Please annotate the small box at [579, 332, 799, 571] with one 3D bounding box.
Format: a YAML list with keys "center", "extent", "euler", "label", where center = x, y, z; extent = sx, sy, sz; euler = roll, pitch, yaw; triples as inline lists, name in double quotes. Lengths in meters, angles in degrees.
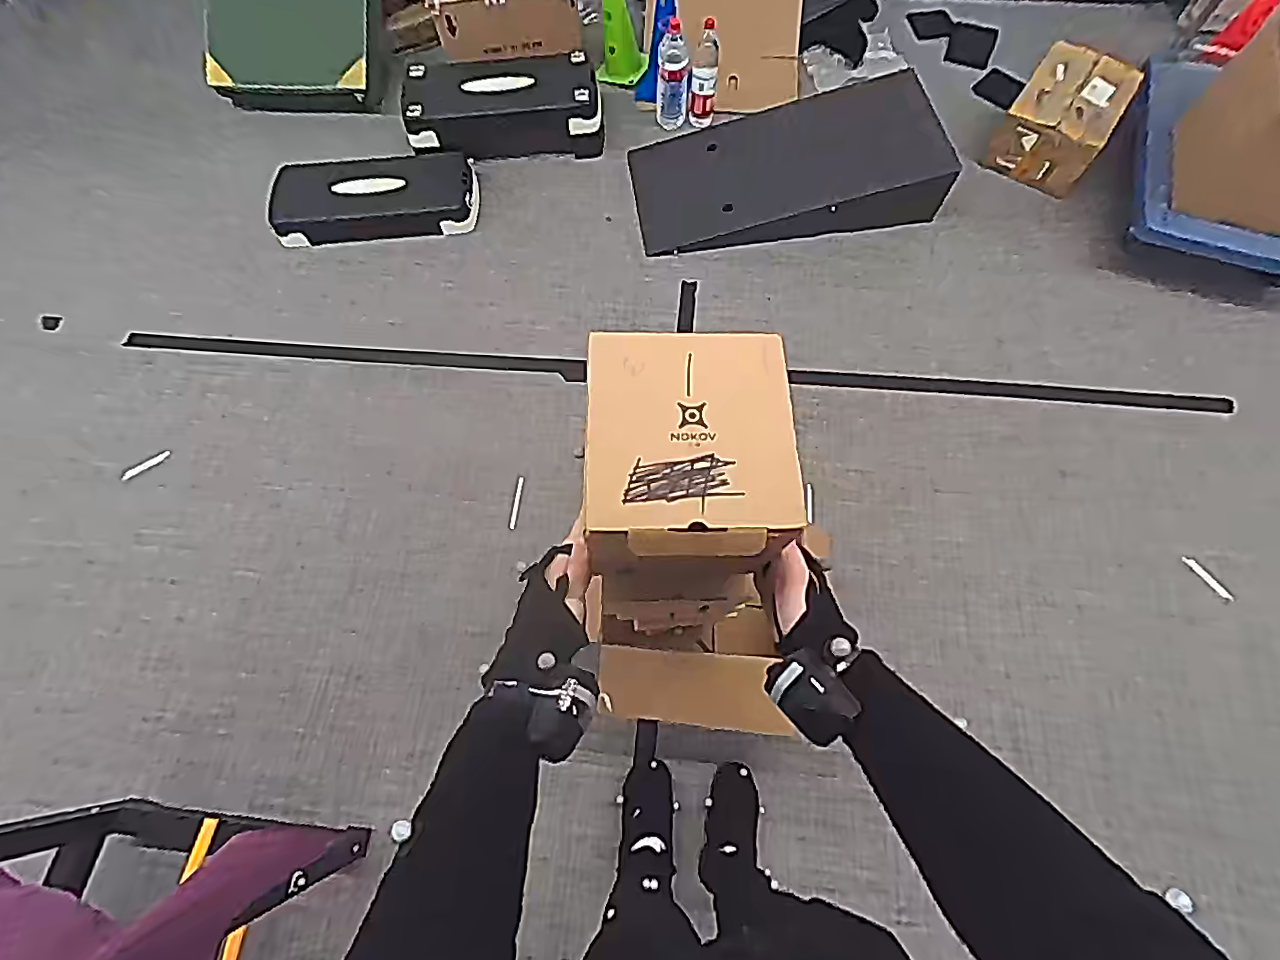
- center: [0.034, -0.014, 0.501]
  extent: [0.168, 0.176, 0.179]
  euler: [0, 69, -3]
  label: "small box"

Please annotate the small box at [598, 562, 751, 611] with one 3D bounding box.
- center: [0.035, 0.069, 0.670]
  extent: [0.168, 0.176, 0.179]
  euler: [0, 72, -3]
  label: "small box"
